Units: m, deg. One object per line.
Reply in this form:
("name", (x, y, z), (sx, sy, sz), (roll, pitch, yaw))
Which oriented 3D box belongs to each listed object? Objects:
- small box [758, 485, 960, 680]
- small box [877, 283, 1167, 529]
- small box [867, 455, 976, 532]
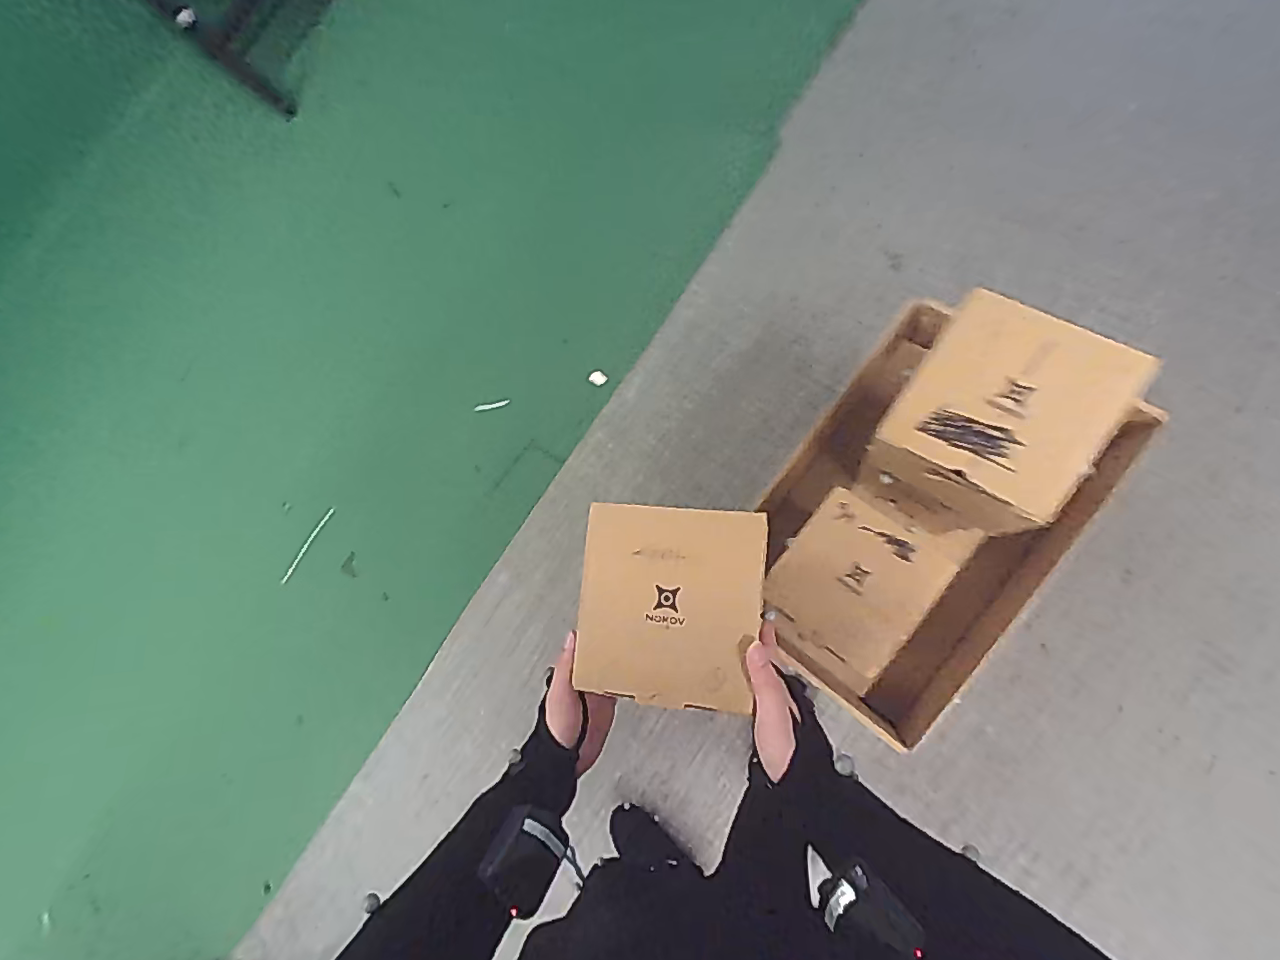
("small box", (0.284, 0.135, 0.726), (0.168, 0.176, 0.179), (38, 92, 20))
("small box", (0.370, -0.063, 0.569), (0.168, 0.176, 0.179), (34, 93, 21))
("small box", (0.488, -0.033, 0.875), (0.168, 0.176, 0.179), (37, 95, 20))
